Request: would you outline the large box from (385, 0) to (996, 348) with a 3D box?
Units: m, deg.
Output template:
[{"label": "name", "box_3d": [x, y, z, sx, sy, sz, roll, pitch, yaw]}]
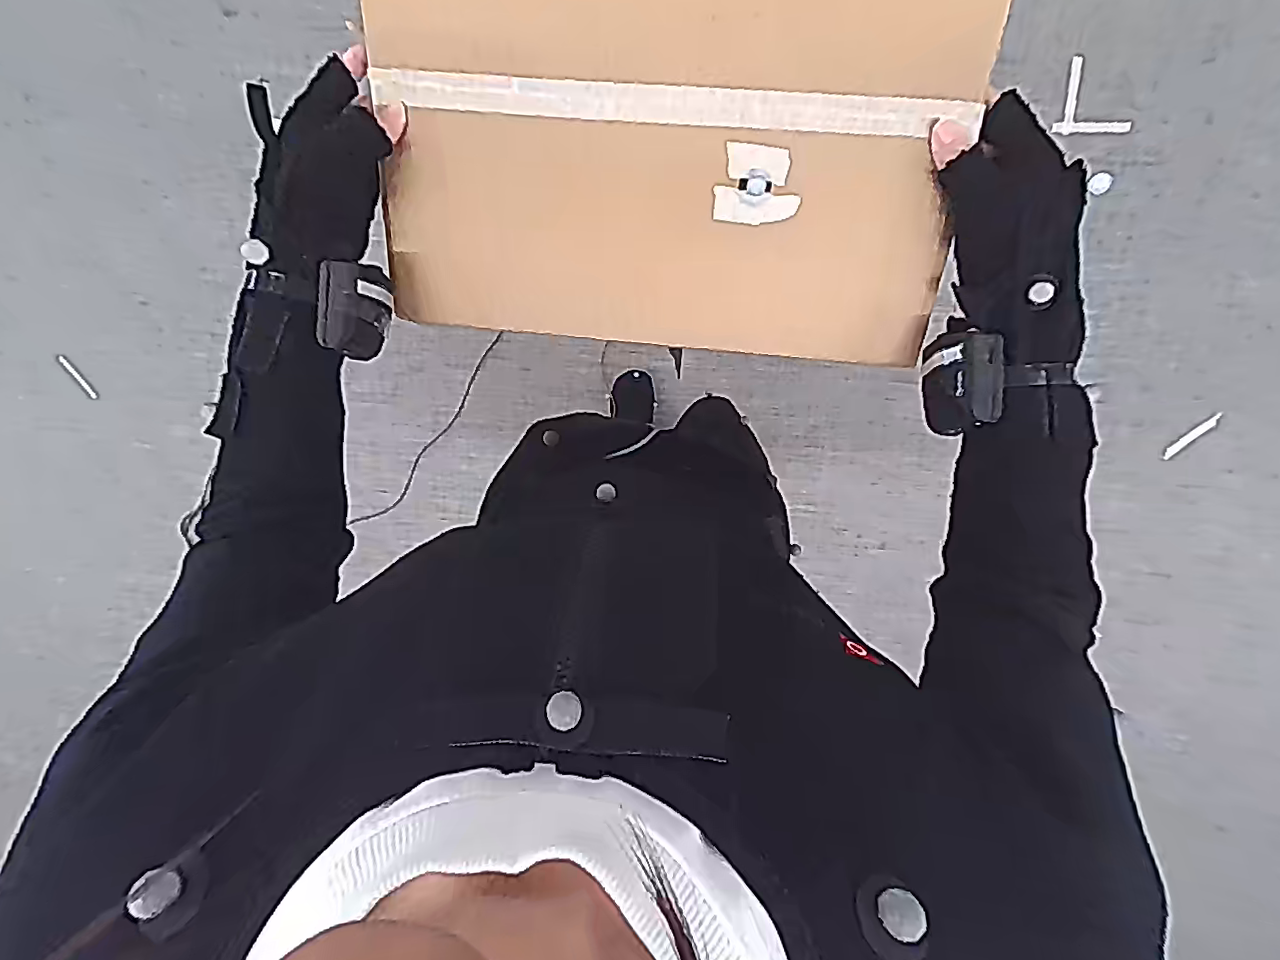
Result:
[{"label": "large box", "box_3d": [0.032, -0.314, 0.509, 0.408, 0.320, 0.320, 6, 113, 3]}]
